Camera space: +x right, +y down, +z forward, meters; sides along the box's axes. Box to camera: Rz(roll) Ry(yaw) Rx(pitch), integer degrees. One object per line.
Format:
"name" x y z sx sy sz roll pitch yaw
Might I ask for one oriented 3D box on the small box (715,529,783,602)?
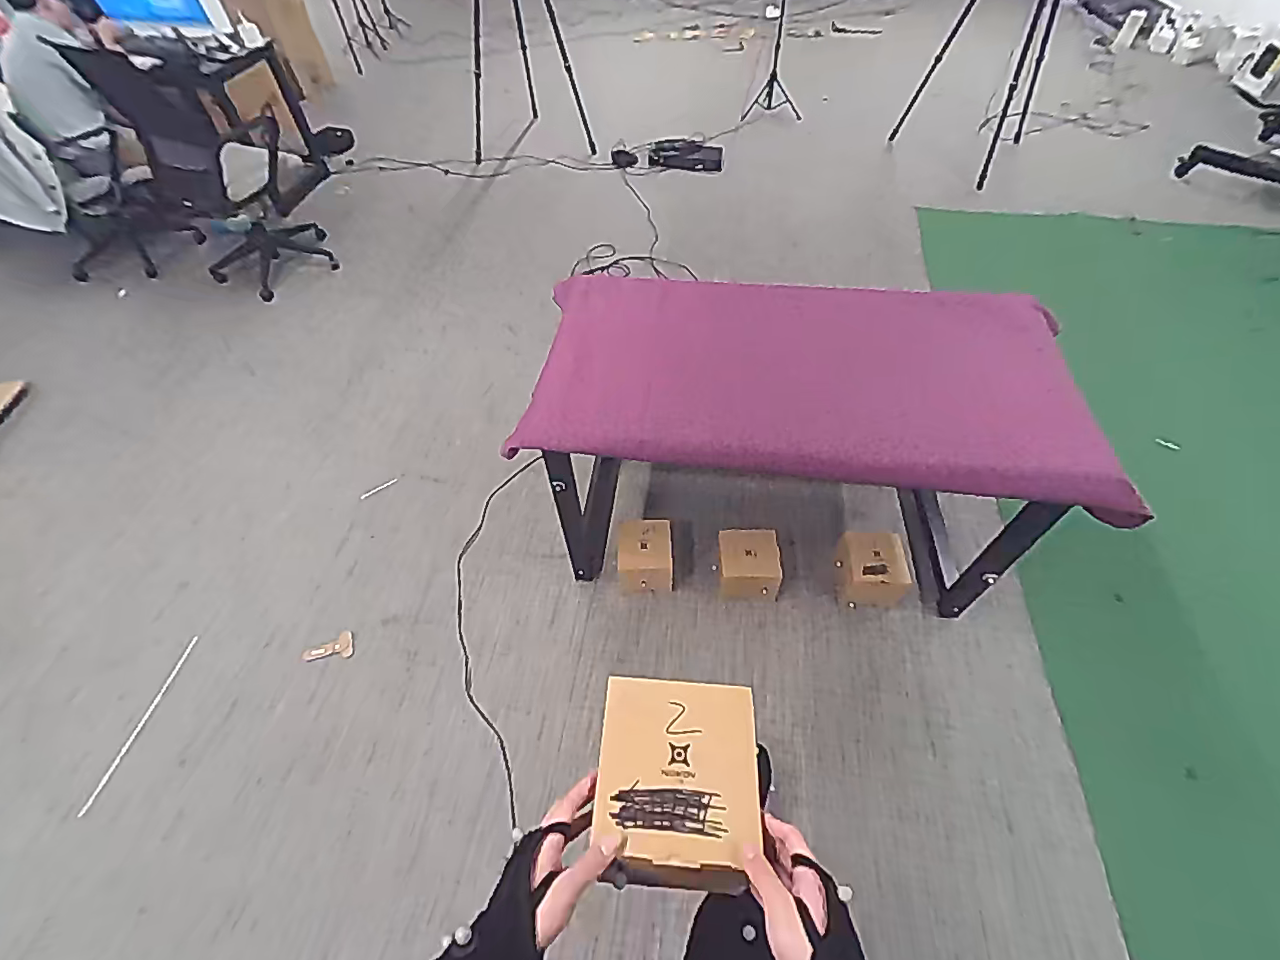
"small box" 0.329 0.267 1.669 0.179 0.176 0.168 0 51 3

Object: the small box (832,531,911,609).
"small box" 0.697 0.278 1.648 0.168 0.176 0.179 4 52 4

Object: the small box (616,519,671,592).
"small box" 0.013 0.242 1.696 0.168 0.176 0.179 -1 52 1
